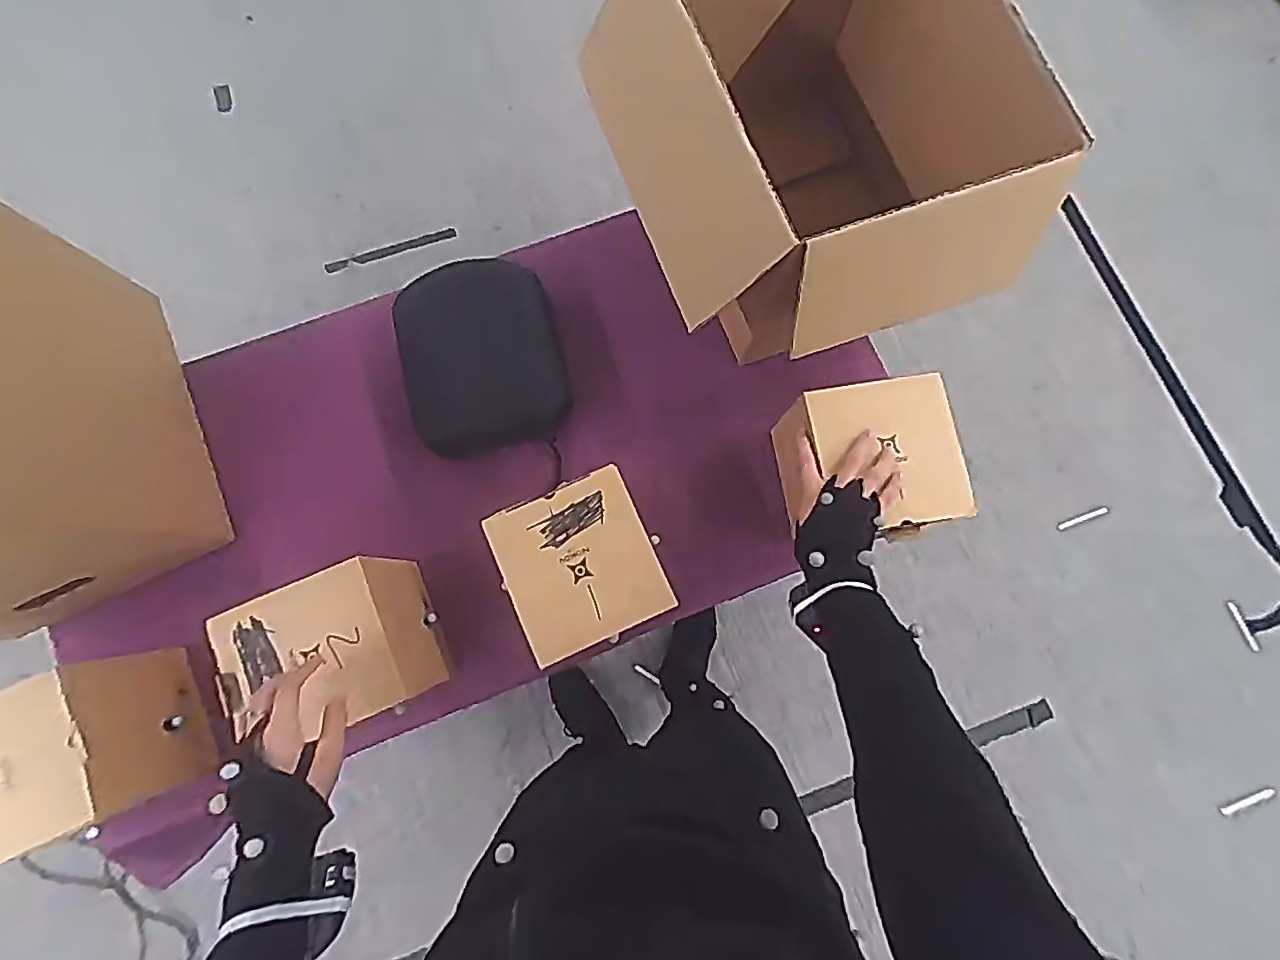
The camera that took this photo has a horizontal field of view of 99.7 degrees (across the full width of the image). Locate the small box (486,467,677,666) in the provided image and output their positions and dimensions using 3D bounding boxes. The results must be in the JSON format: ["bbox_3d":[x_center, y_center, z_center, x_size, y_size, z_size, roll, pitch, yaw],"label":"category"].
[{"bbox_3d":[-0.067,0.107,0.674,0.168,0.176,0.179,-24,81,-4],"label":"small box"}]

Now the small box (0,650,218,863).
[{"bbox_3d":[-0.657,0.318,0.634,0.179,0.176,0.168,-24,81,-6],"label":"small box"}]

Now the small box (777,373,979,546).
[{"bbox_3d":[0.287,-0.016,0.695,0.168,0.176,0.179,-9,80,-1],"label":"small box"}]
